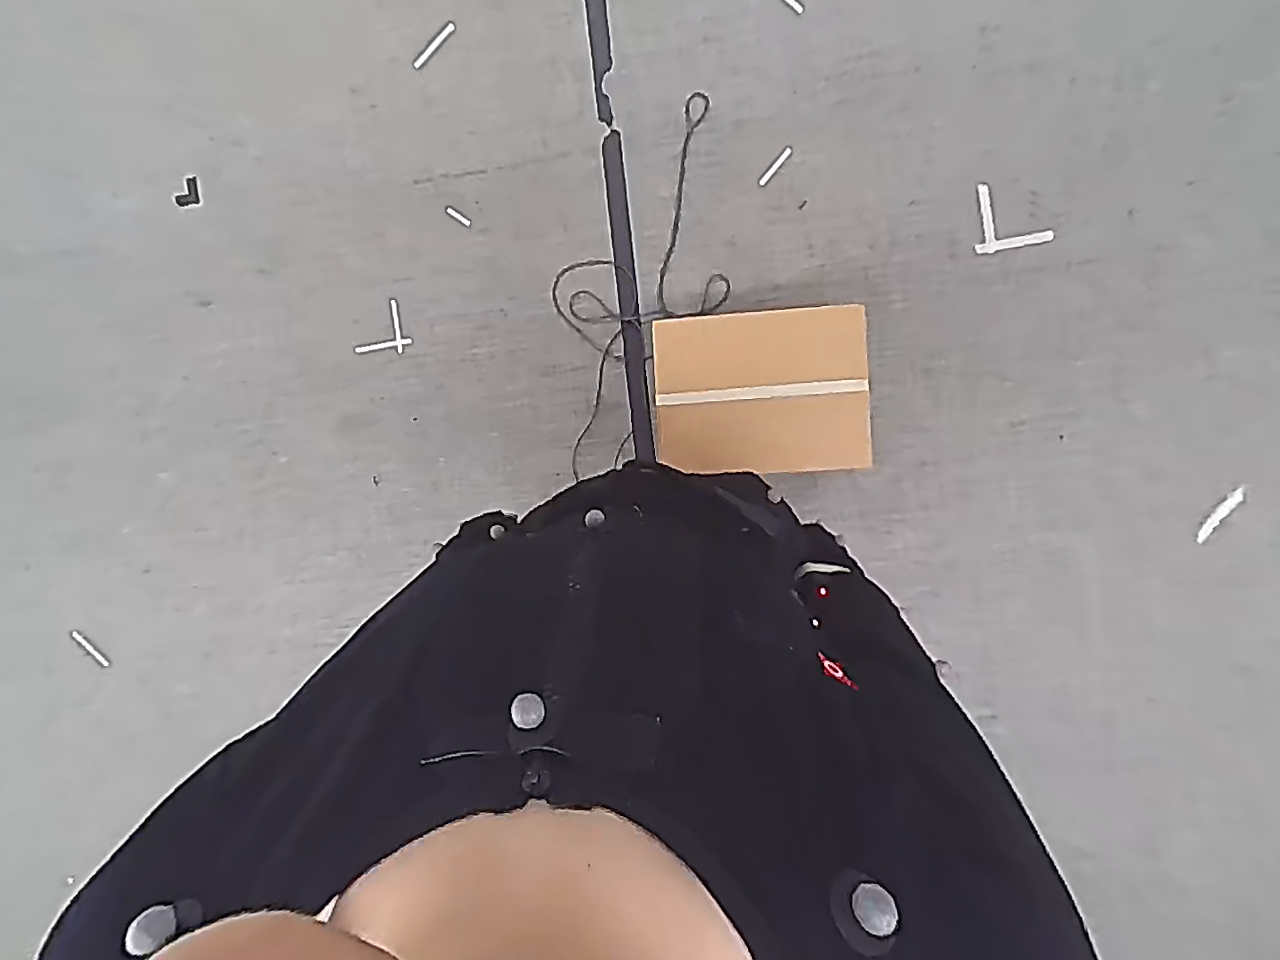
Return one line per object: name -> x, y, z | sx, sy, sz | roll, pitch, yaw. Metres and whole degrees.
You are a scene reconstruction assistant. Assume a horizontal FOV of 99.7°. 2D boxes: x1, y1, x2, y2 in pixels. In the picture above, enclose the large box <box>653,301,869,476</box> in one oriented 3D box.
large box -> 0.245, -0.181, 1.197 | 0.408, 0.320, 0.320 | -3, 93, 5
